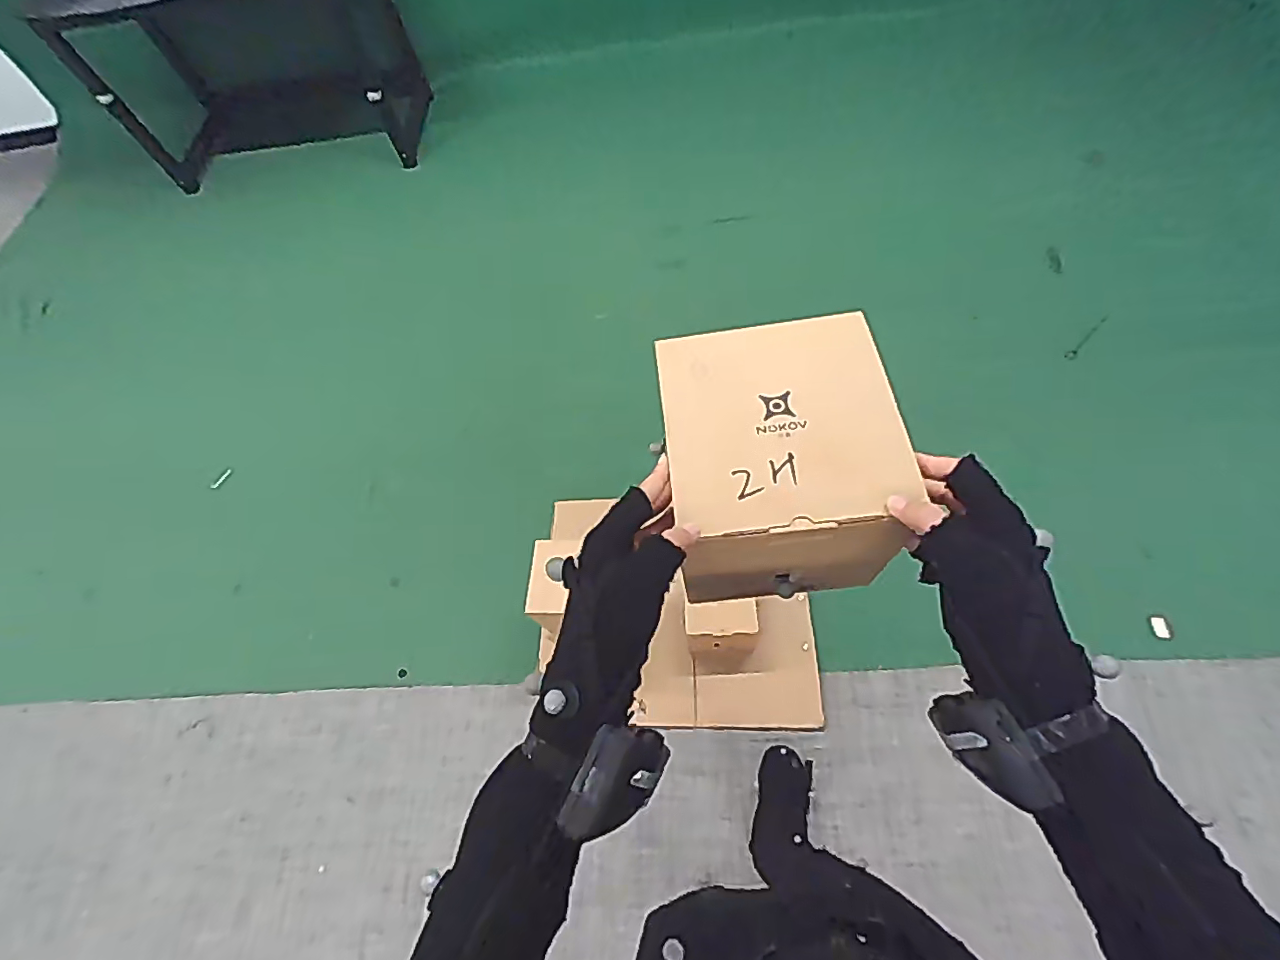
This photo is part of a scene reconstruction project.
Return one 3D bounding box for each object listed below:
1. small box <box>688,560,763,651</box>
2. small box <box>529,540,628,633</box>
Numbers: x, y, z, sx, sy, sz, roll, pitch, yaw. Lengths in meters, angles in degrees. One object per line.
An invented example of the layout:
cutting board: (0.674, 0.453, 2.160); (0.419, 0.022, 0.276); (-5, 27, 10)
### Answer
small box: (0.204, 0.310, 1.320); (0.168, 0.176, 0.179); (-4, 62, 7)
small box: (-0.128, 0.243, 1.214); (0.179, 0.176, 0.168); (-1, 62, 10)
